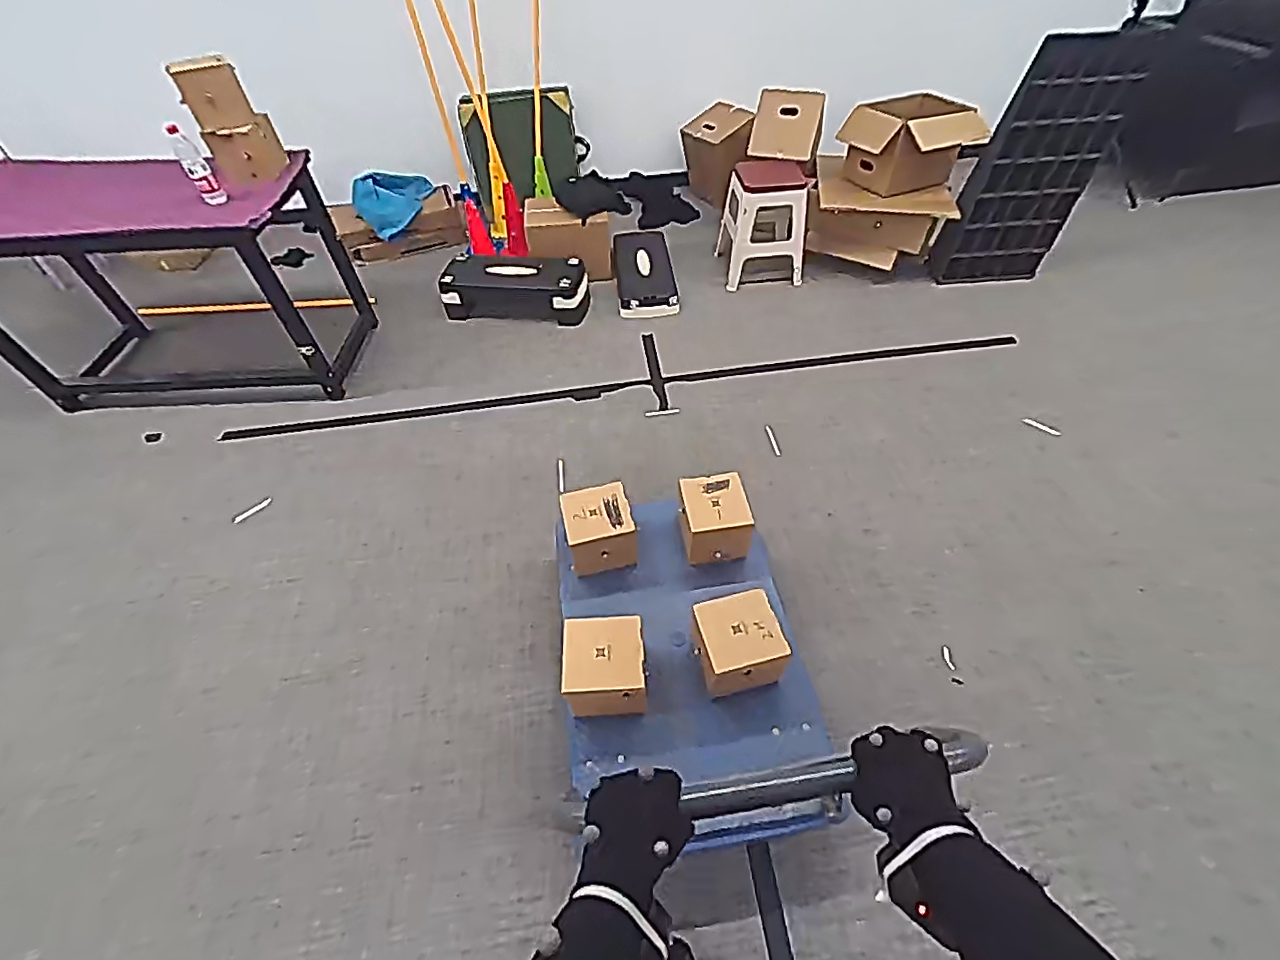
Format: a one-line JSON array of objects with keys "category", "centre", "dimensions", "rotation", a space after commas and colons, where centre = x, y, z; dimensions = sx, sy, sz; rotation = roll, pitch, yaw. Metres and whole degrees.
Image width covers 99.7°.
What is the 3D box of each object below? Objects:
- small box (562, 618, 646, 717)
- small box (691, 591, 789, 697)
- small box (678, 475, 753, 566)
[{"category": "small box", "centre": [-0.078, 0.433, 1.239], "dimensions": [0.179, 0.176, 0.168], "rotation": [-3, 50, -2]}, {"category": "small box", "centre": [0.224, 0.387, 1.262], "dimensions": [0.179, 0.176, 0.168], "rotation": [-12, 52, -7]}, {"category": "small box", "centre": [0.199, 0.112, 1.486], "dimensions": [0.168, 0.176, 0.179], "rotation": [-8, 52, -4]}]
